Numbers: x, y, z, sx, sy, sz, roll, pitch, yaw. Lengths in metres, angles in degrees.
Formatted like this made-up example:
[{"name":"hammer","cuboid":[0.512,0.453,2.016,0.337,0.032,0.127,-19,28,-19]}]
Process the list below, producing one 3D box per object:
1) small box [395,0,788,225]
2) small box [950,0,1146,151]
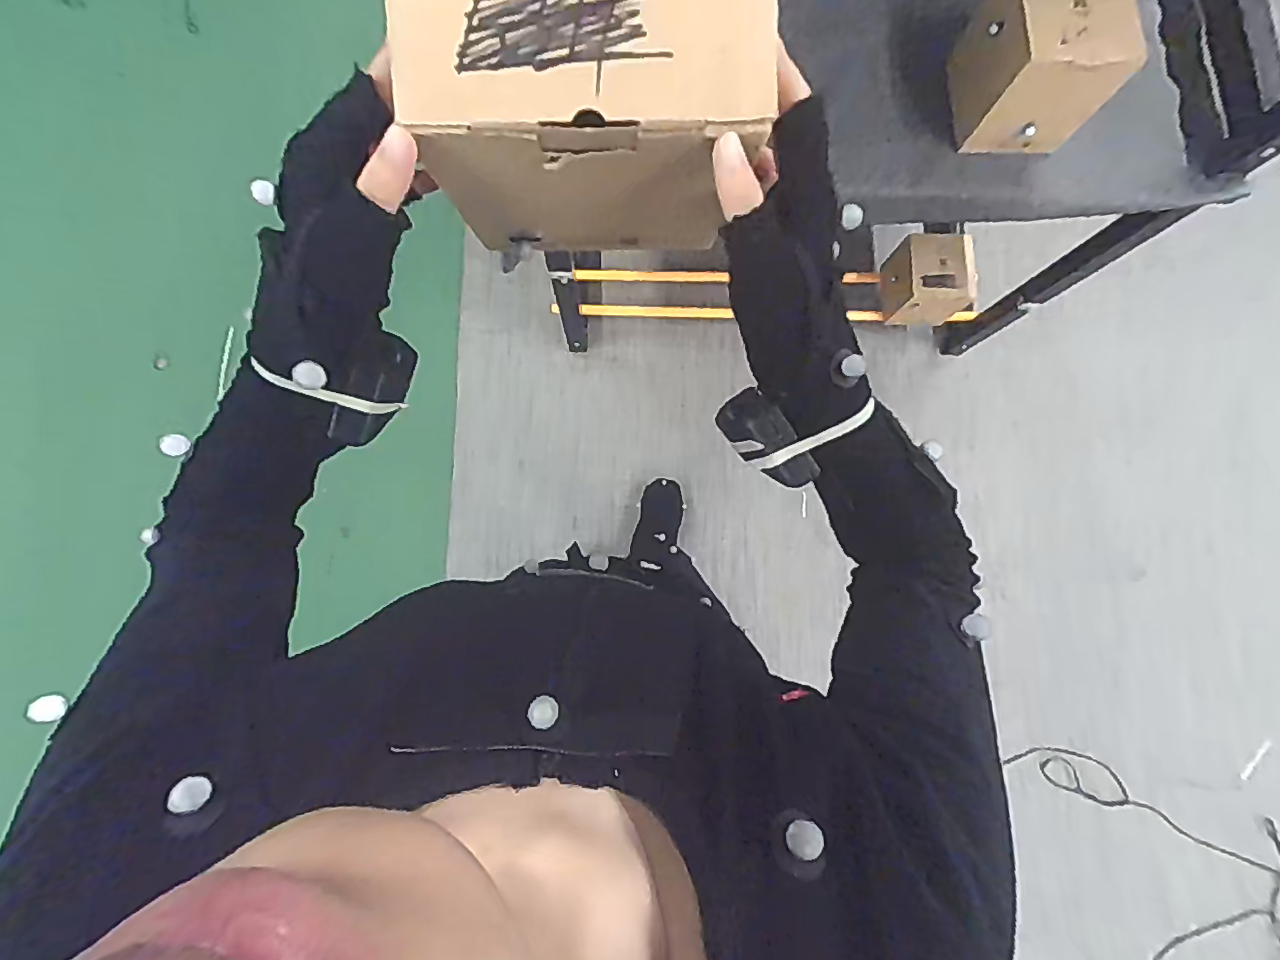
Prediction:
[{"name":"small box","cuboid":[-0.022,-0.256,0.298,0.168,0.176,0.179,-2,95,-2]},{"name":"small box","cuboid":[0.604,-0.645,0.826,0.168,0.176,0.179,-1,80,-1]}]
